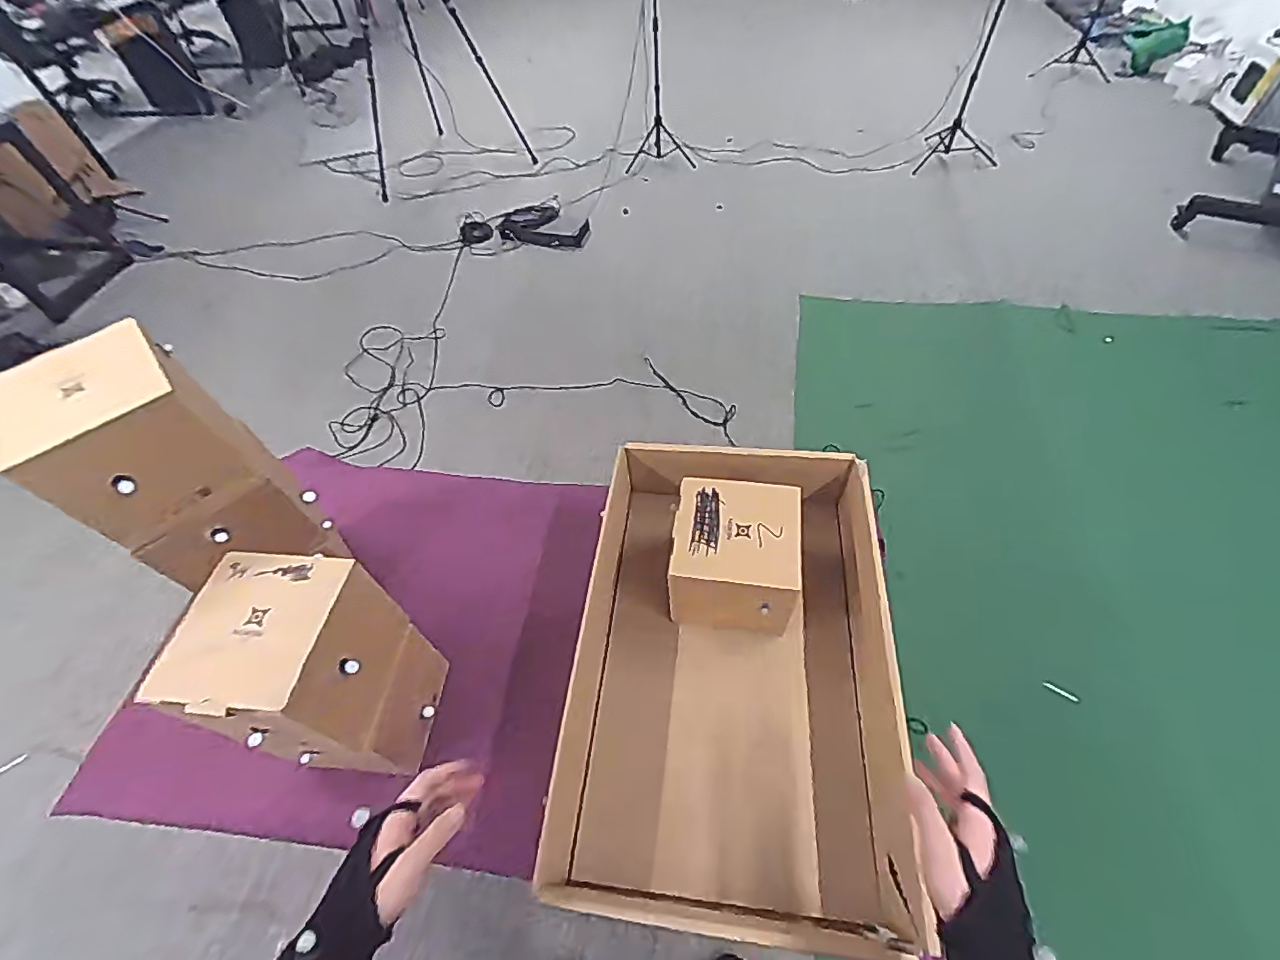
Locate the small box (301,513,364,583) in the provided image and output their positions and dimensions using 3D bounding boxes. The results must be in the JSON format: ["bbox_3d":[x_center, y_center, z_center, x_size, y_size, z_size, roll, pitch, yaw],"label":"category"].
[{"bbox_3d":[-0.601,0.144,0.910,0.168,0.176,0.179,-35,59,-22],"label":"small box"}]

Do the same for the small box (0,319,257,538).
[{"bbox_3d":[-0.613,-0.054,0.653,0.168,0.176,0.179,-37,61,-22],"label":"small box"}]

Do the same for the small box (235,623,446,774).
[{"bbox_3d":[-0.408,0.311,0.773,0.179,0.176,0.168,2,52,5],"label":"small box"}]

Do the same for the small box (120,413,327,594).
[{"bbox_3d":[-0.601,0.044,0.782,0.179,0.176,0.168,-35,61,-21],"label":"small box"}]

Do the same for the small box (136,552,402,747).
[{"bbox_3d":[-0.415,0.207,0.647,0.168,0.176,0.179,3,53,5],"label":"small box"}]
